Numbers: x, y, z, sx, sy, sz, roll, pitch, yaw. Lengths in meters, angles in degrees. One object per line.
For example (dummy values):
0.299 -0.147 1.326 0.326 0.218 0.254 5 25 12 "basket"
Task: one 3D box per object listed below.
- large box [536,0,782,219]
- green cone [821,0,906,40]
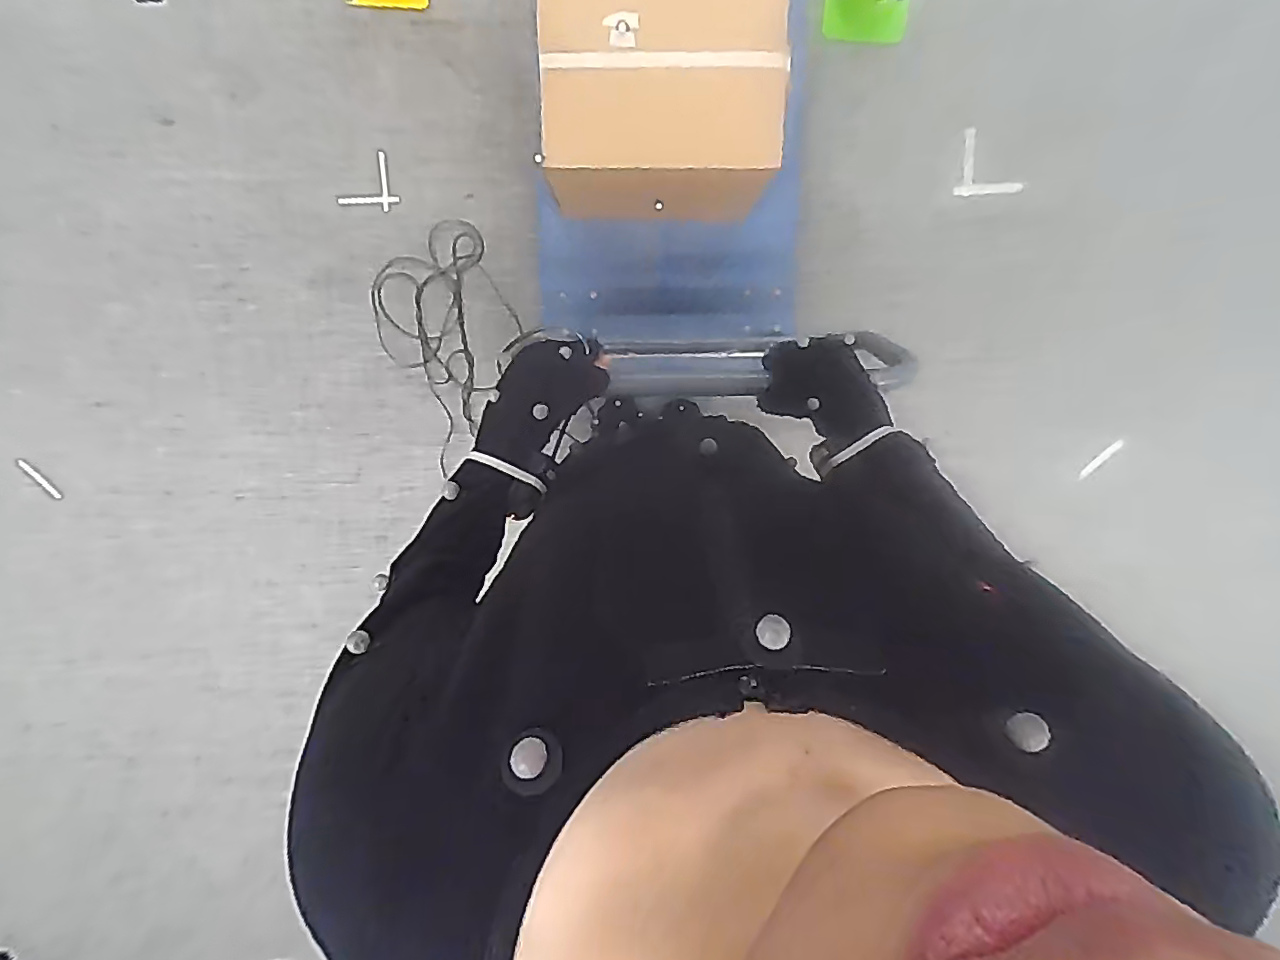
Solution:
0.035 -0.703 1.034 0.408 0.320 0.320 0 100 0 "large box"
0.538 -1.127 1.108 0.202 0.368 0.200 3 100 -2 "green cone"
